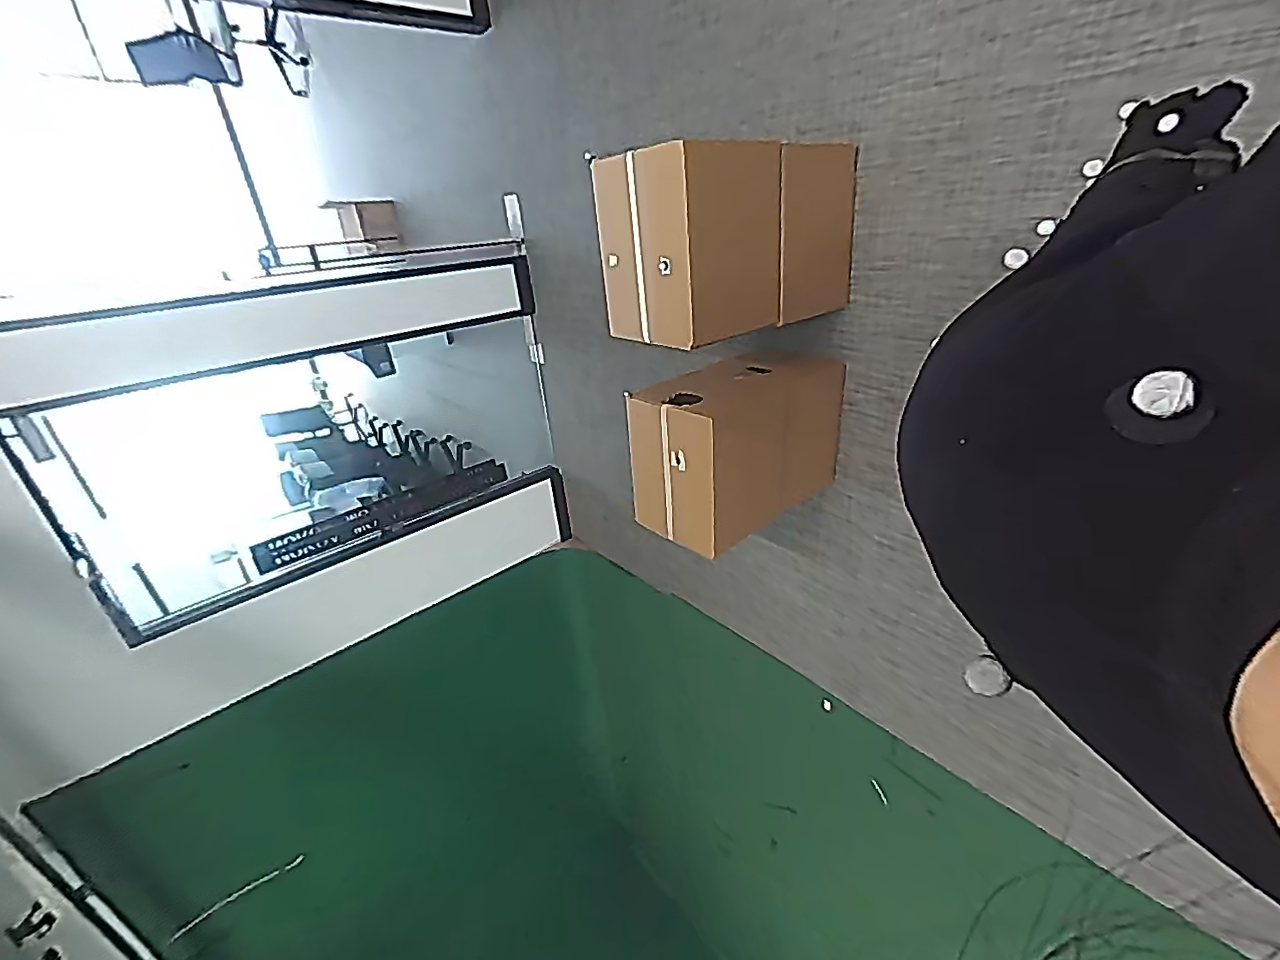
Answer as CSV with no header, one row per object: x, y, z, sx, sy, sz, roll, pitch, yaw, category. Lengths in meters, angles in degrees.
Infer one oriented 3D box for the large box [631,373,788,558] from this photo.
0.199,-0.058,1.530,0.320,0.320,0.408,23,126,43,large box
